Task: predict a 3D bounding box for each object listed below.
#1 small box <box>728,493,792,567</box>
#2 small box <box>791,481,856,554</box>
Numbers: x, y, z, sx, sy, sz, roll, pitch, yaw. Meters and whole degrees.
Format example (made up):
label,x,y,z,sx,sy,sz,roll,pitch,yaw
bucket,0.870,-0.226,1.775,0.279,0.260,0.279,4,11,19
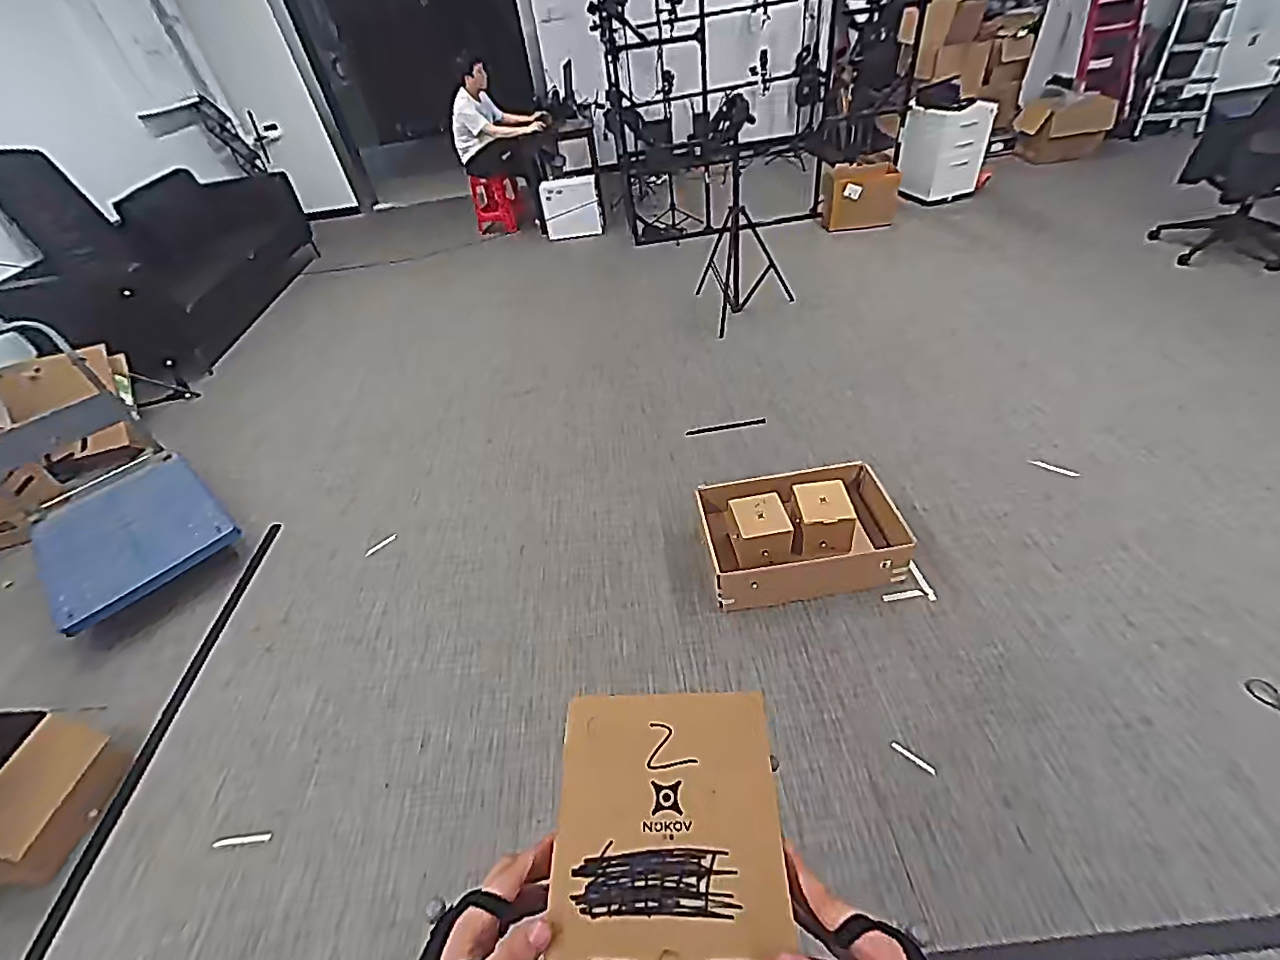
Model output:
label,x,y,z,sx,sy,sz,roll,pitch,yaw
small box,0.396,0.173,1.802,0.168,0.176,0.179,-9,42,-2
small box,0.609,0.127,1.818,0.168,0.176,0.179,-6,43,4
